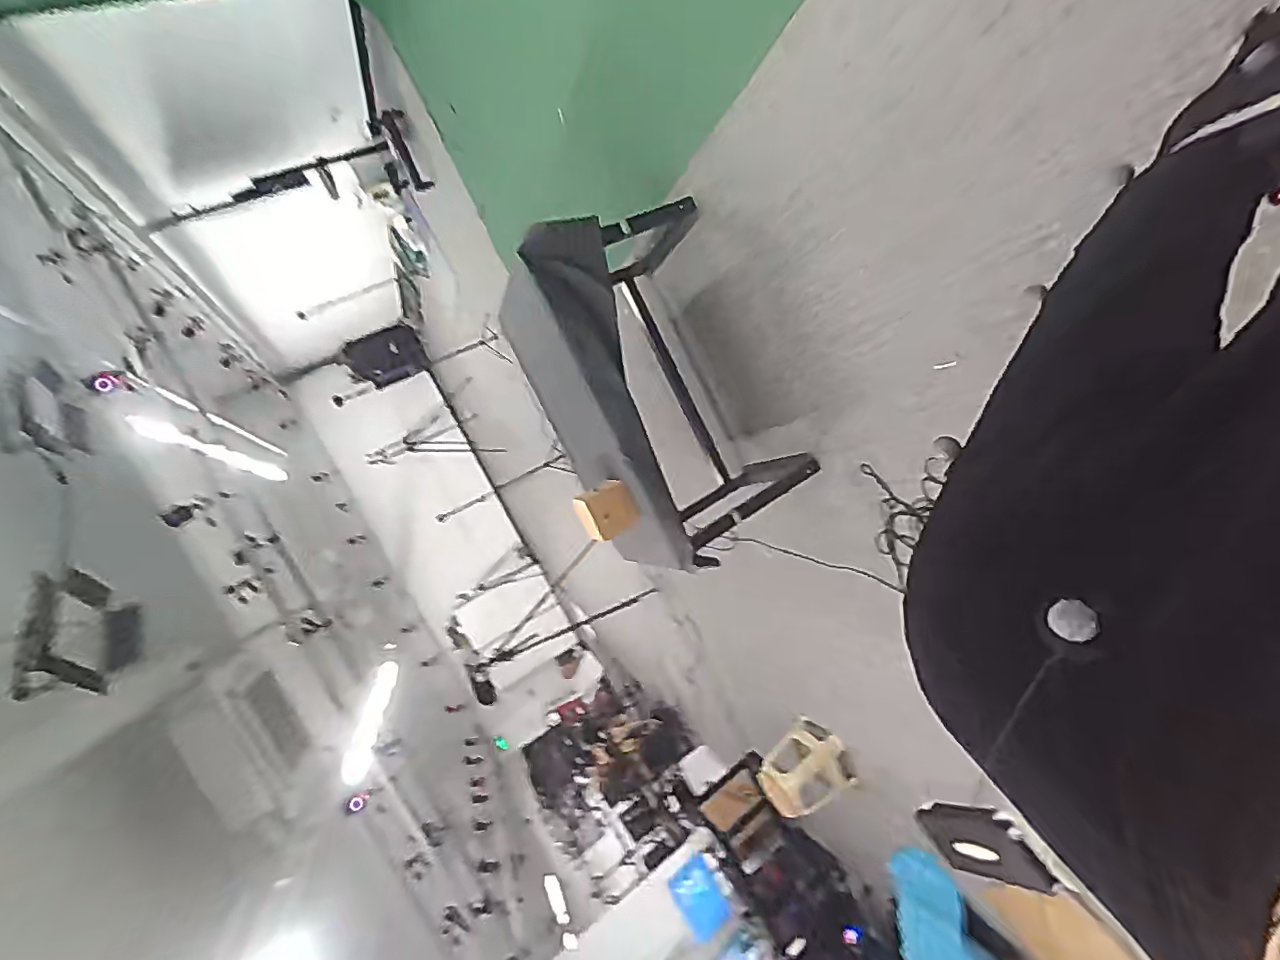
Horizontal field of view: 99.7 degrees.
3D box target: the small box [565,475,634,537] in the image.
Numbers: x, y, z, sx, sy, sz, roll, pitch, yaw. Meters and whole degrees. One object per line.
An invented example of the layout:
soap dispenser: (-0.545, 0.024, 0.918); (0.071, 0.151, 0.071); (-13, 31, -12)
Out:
small box: (-0.151, 0.090, 2.015); (0.179, 0.176, 0.168); (64, 159, -12)
